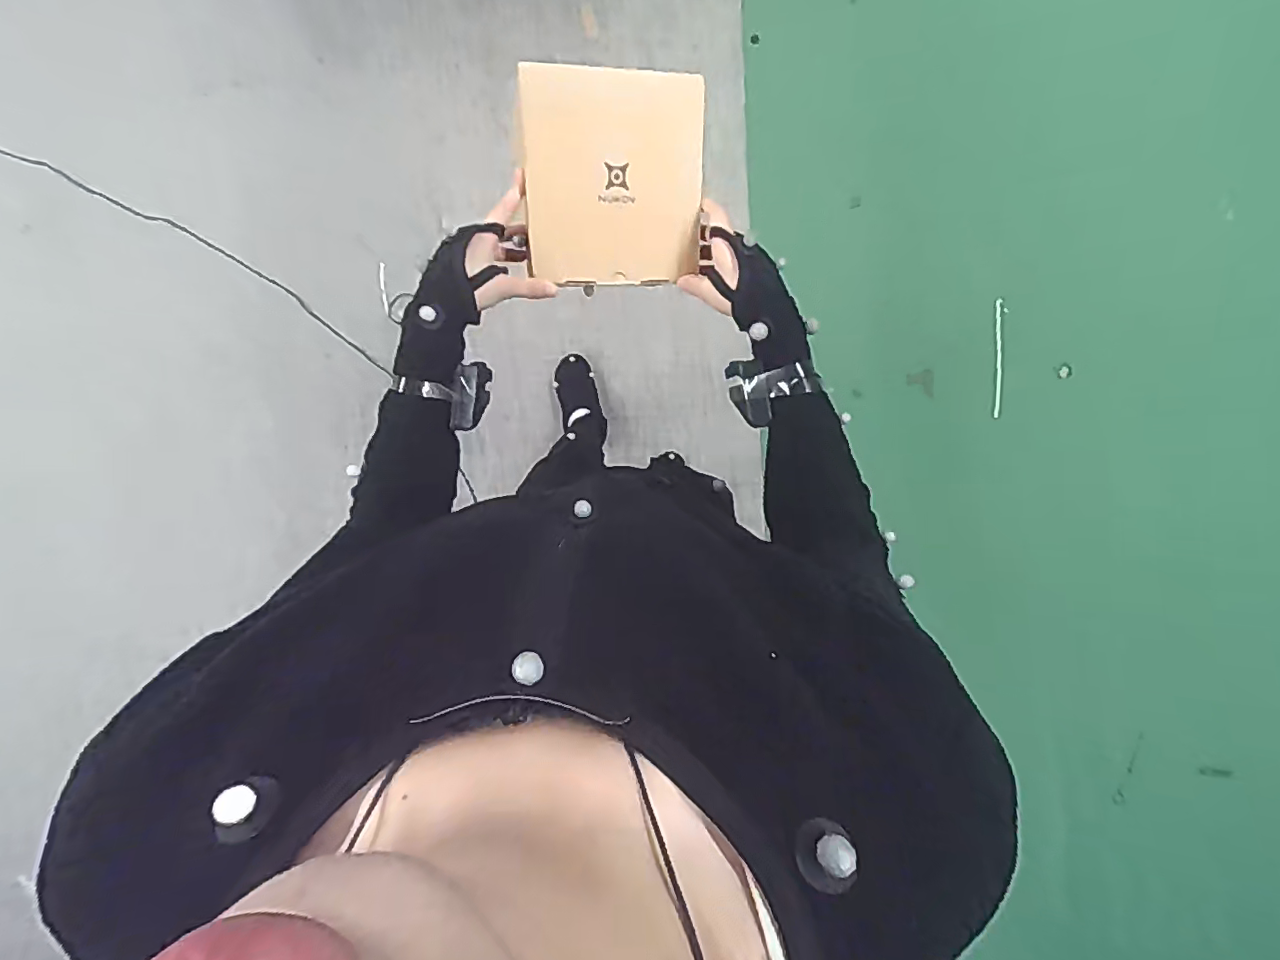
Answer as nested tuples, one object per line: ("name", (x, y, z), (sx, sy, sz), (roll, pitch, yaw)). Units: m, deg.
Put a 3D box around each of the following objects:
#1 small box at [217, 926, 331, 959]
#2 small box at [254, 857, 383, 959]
("small box", (-0.655, 0.910, 0.922), (0.179, 0.176, 0.168), (1, 94, 2))
("small box", (-0.636, 0.900, 1.085), (0.168, 0.176, 0.179), (3, 95, 2))
